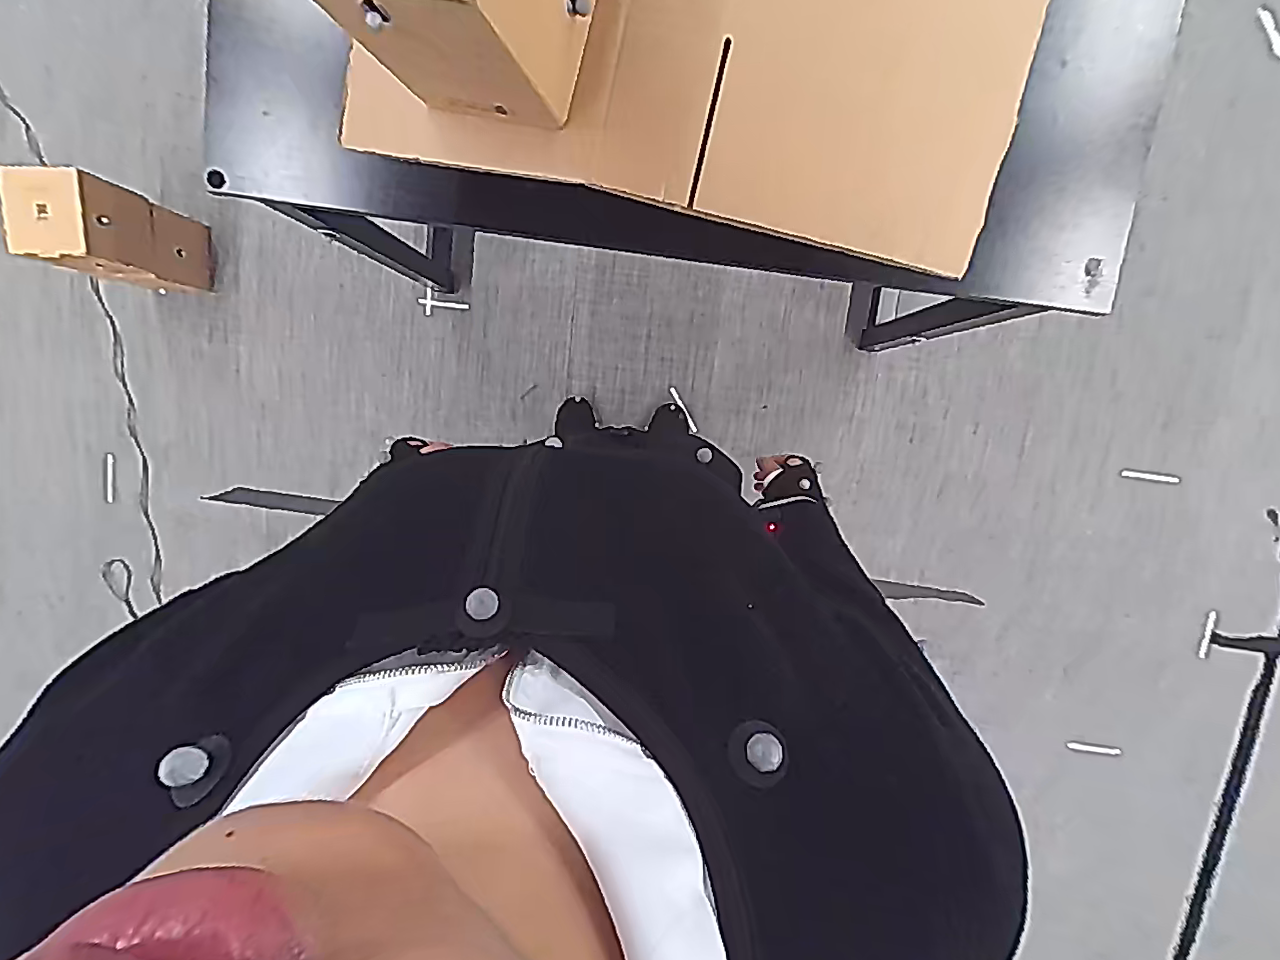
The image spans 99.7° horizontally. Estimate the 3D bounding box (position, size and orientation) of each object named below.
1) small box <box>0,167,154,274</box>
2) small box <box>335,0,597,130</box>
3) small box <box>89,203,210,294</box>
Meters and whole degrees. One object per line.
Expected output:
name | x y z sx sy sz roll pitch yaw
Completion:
small box | -1.232 -0.564 1.198 0.168 0.176 0.179 0 97 0
small box | -0.144 -0.445 0.461 0.168 0.176 0.179 18 98 13
small box | -1.227 -0.580 1.359 0.168 0.176 0.179 4 98 1
